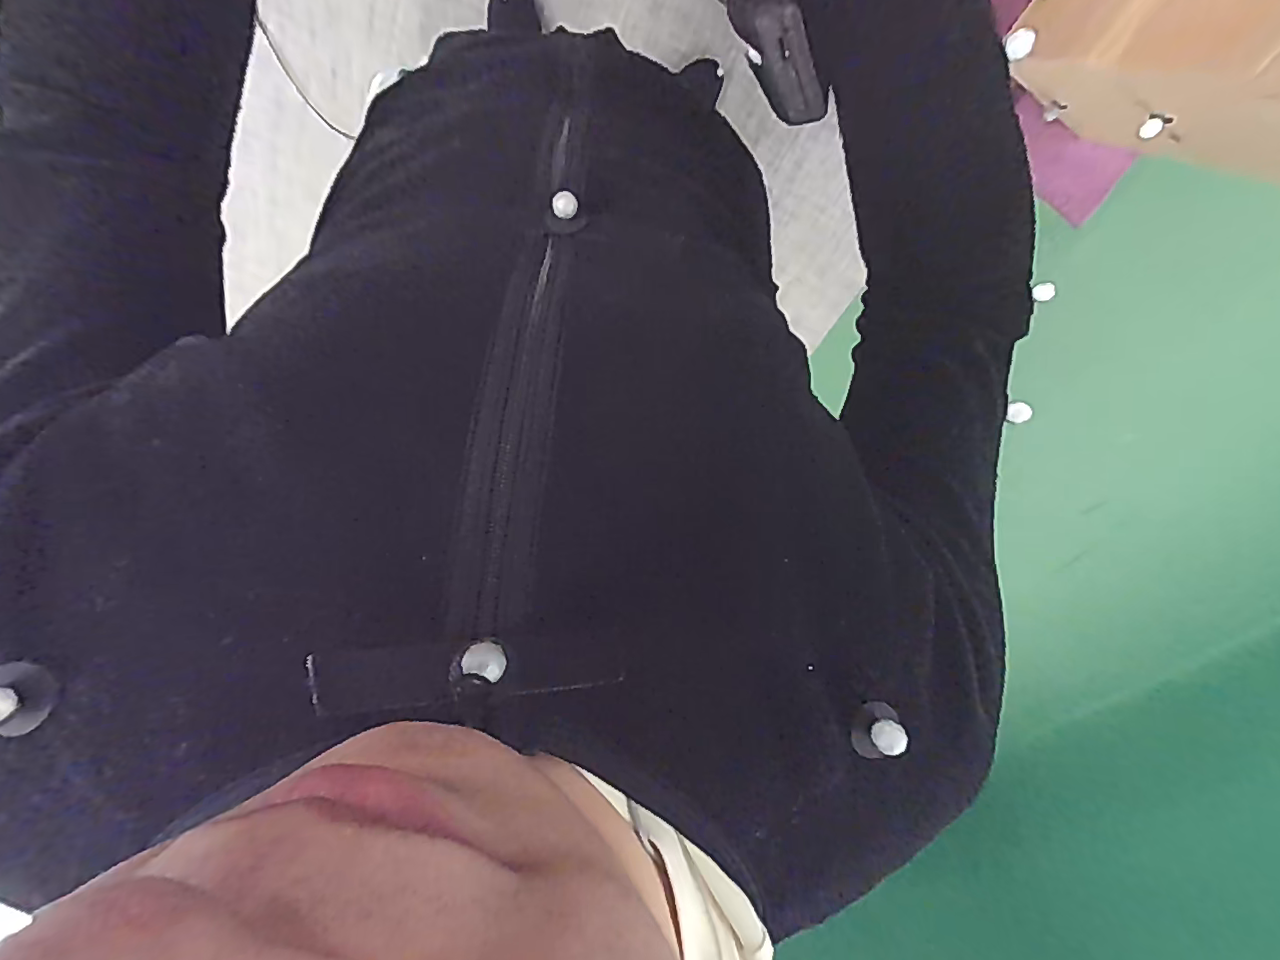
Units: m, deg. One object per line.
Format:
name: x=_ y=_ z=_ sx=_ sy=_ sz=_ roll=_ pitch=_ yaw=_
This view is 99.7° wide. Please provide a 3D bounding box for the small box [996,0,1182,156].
small box: x=0.516 y=-0.467 z=0.539 sx=0.179 sy=0.176 sz=0.168 roll=21 pitch=126 yaw=-20
